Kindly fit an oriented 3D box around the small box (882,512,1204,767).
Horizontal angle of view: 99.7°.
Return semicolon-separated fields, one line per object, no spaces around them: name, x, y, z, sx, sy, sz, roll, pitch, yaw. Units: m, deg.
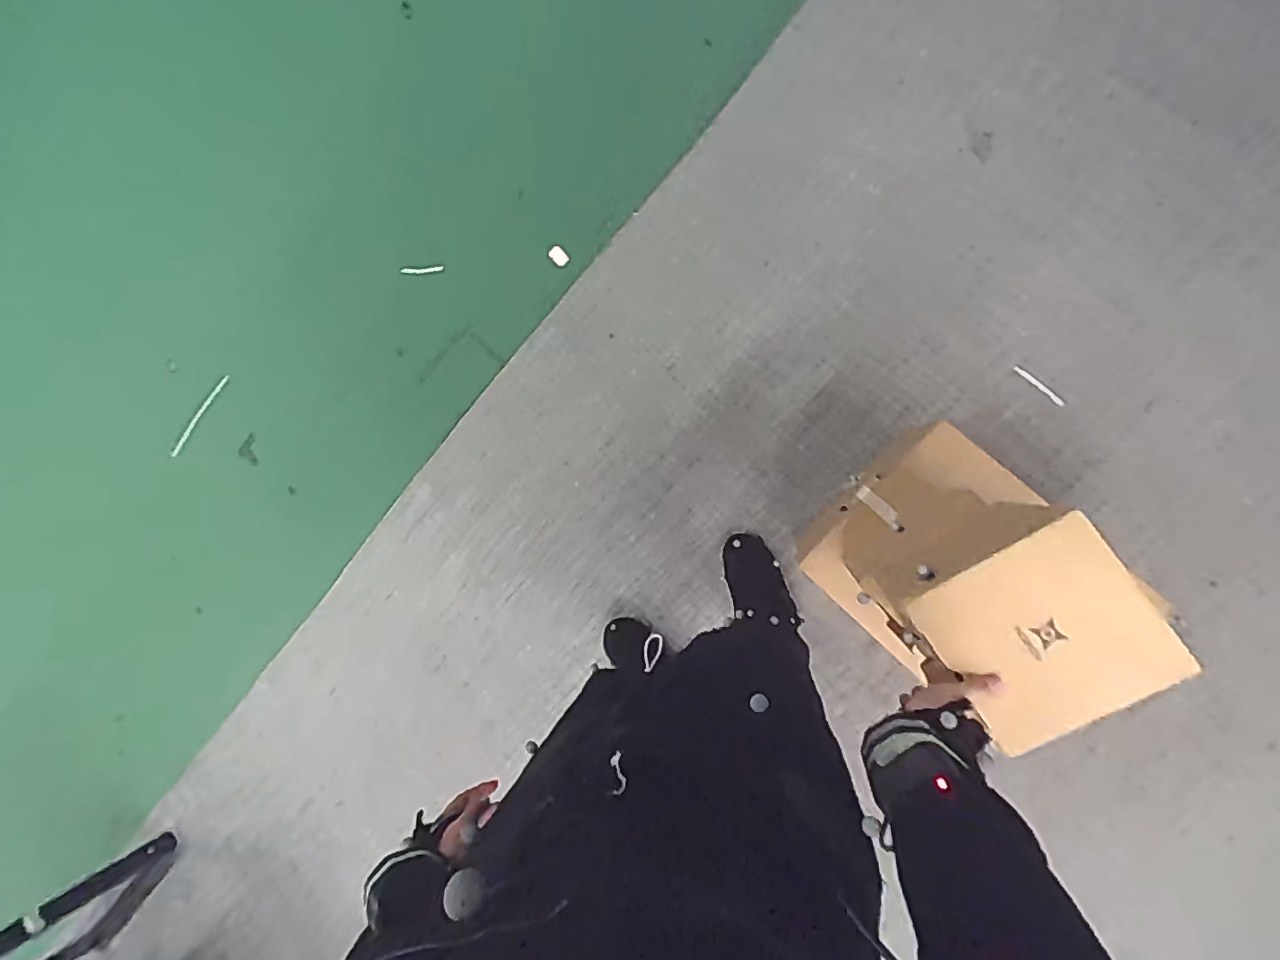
small box;0.383;0.145;0.558;0.179;0.176;0.168;-34;82;12

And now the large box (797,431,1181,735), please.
large box;0.533;0.162;0.939;0.408;0.320;0.320;43;101;9
